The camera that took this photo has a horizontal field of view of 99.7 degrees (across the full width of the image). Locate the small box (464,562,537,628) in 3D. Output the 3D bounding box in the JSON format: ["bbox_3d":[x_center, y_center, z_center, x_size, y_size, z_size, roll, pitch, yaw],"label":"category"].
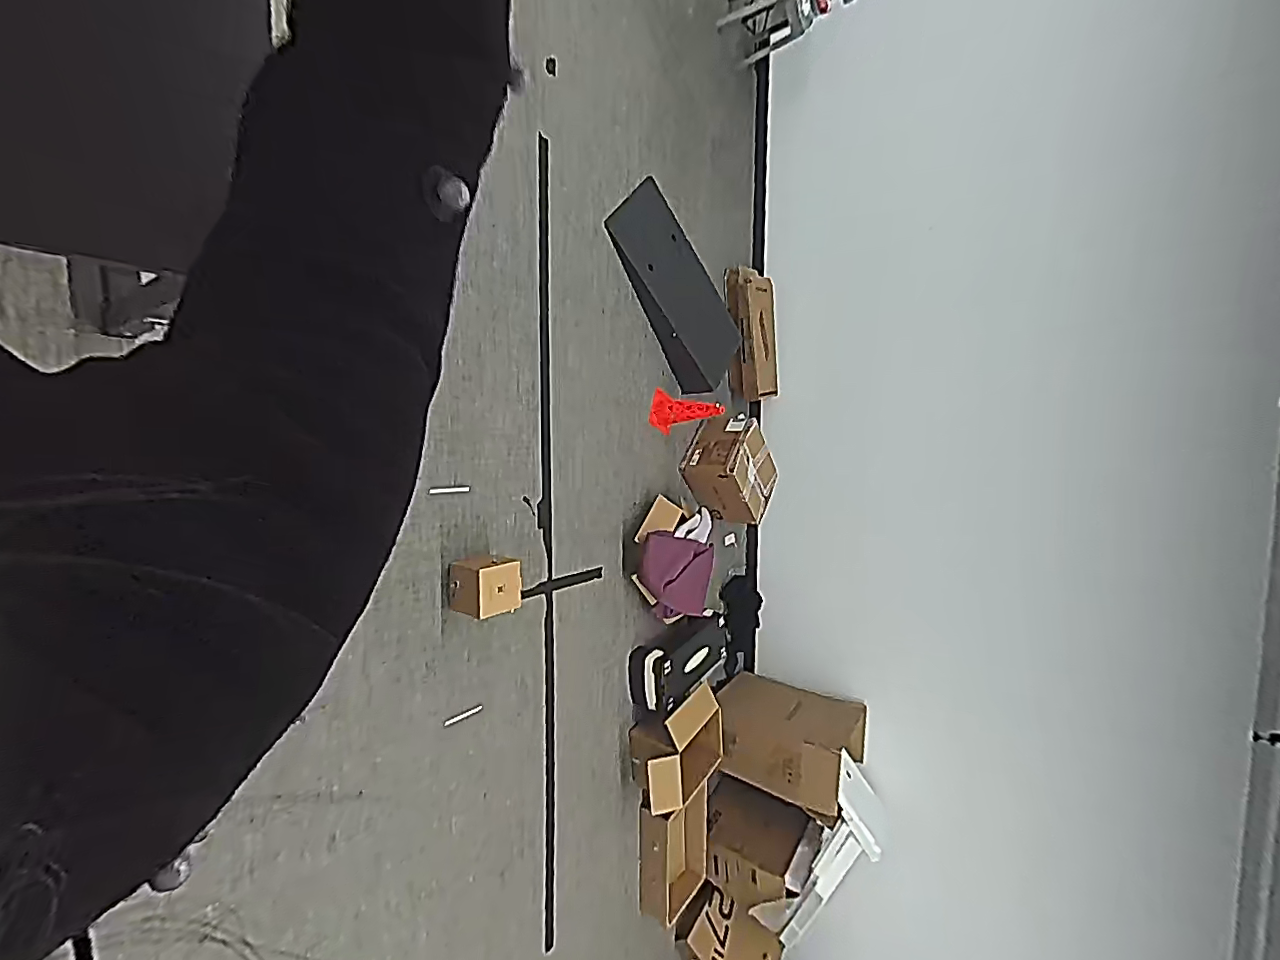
[{"bbox_3d":[-0.469,0.378,1.818,0.179,0.176,0.168,-7,98,-53],"label":"small box"}]
